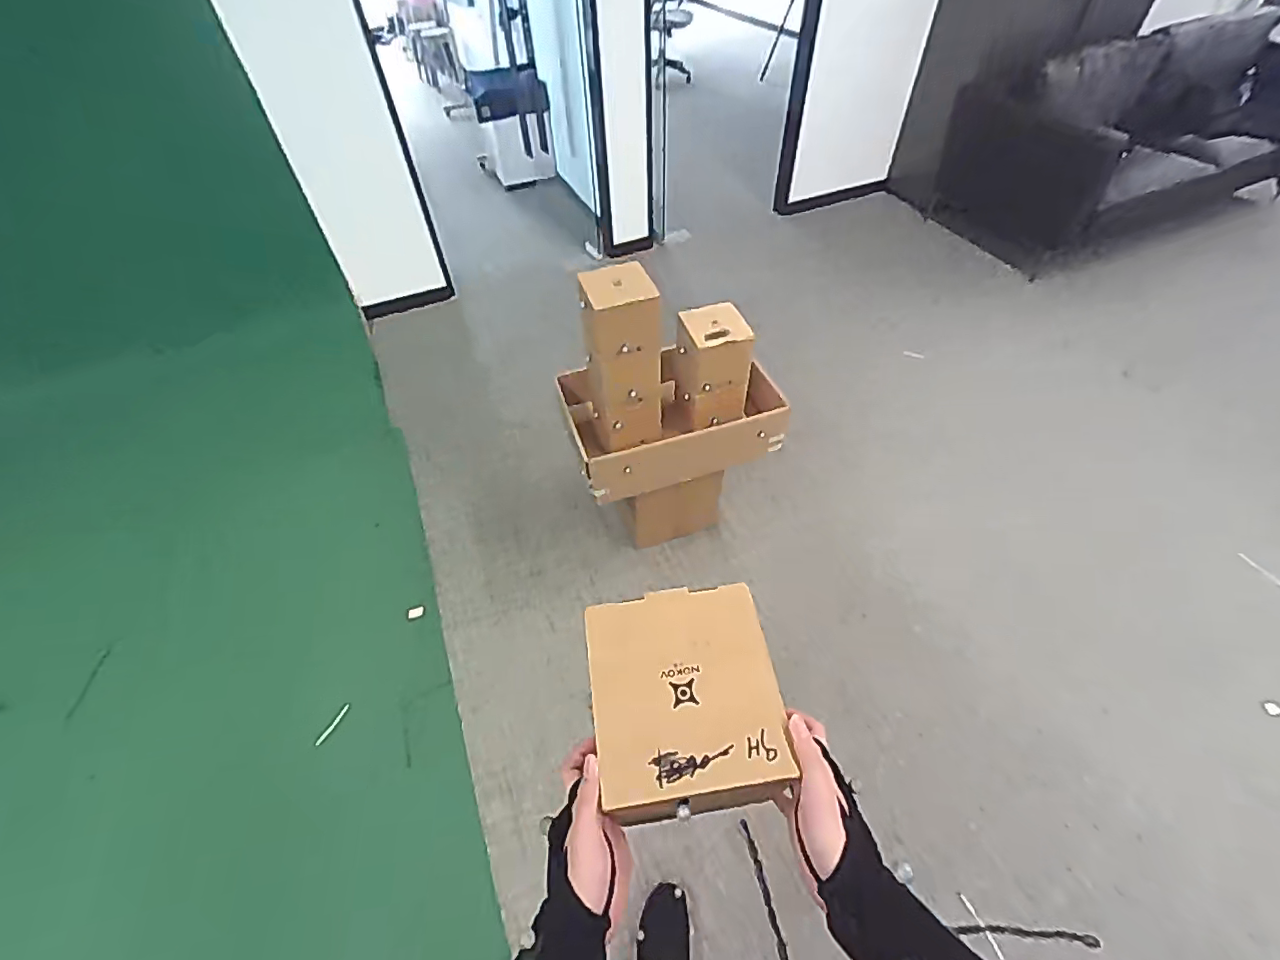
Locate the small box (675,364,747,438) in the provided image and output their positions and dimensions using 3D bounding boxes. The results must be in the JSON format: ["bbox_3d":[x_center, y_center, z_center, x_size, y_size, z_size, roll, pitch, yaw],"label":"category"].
[{"bbox_3d":[0.209,-0.258,1.662,0.168,0.176,0.179,-15,51,-10],"label":"small box"}]

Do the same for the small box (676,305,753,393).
[{"bbox_3d":[0.205,-0.365,1.537,0.168,0.176,0.179,-14,50,-10],"label":"small box"}]

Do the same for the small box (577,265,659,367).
[{"bbox_3d":[-0.056,-0.417,1.376,0.168,0.176,0.179,-15,51,-10],"label":"small box"}]

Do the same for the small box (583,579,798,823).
[{"bbox_3d":[0.038,0.222,0.539,0.168,0.176,0.179,-8,54,-3],"label":"small box"}]

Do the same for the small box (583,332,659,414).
[{"bbox_3d":[-0.053,-0.310,1.499,0.168,0.176,0.179,-16,51,-11],"label":"small box"}]
